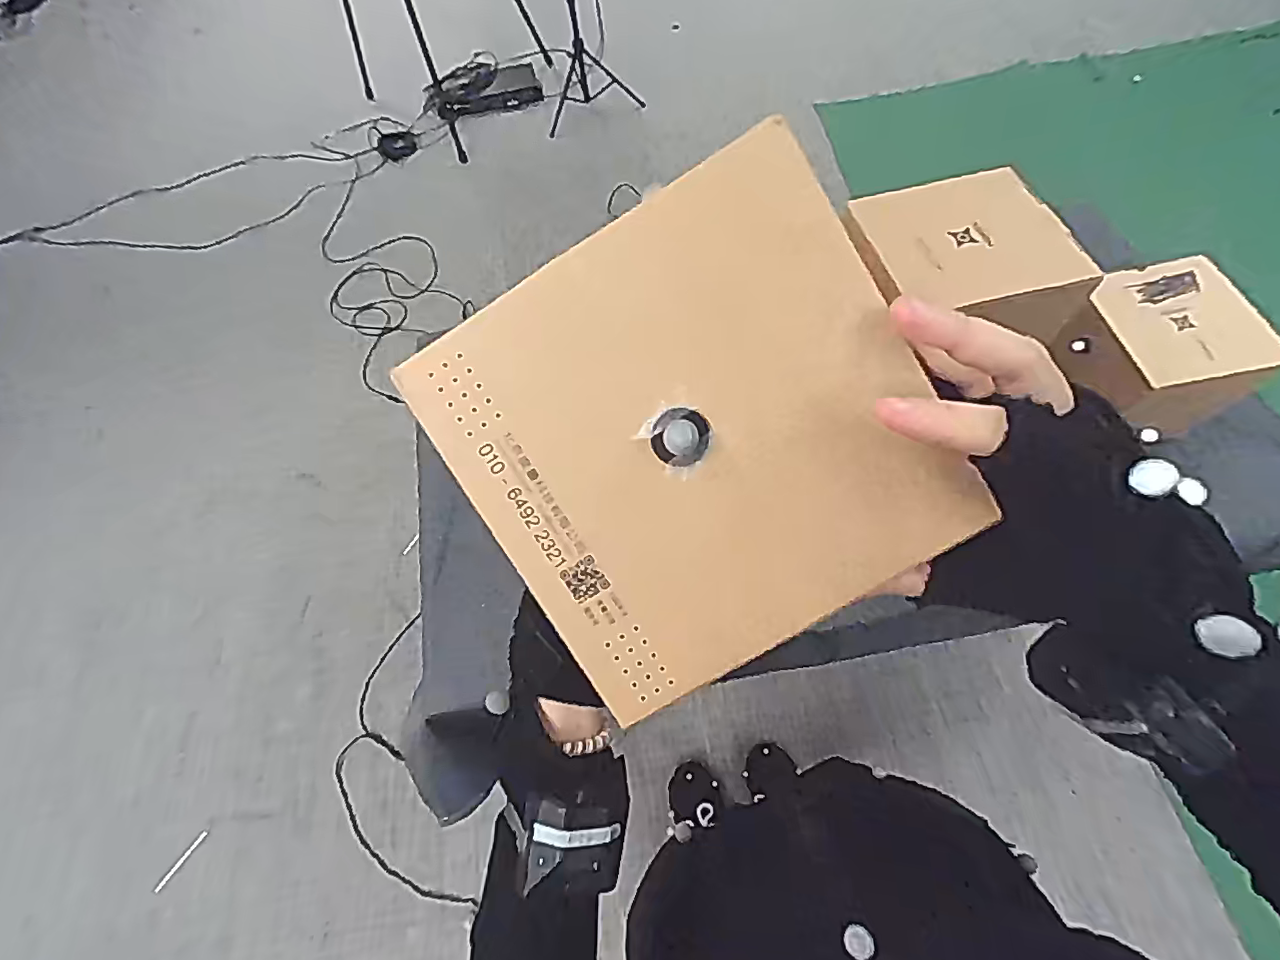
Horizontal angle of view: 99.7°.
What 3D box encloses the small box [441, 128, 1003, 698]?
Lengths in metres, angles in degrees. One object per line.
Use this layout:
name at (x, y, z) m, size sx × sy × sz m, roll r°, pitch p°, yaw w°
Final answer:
small box at (0.027, -0.023, 0.284) m, size 0.176 × 0.179 × 0.168 m, roll -31°, pitch 94°, yaw 5°
